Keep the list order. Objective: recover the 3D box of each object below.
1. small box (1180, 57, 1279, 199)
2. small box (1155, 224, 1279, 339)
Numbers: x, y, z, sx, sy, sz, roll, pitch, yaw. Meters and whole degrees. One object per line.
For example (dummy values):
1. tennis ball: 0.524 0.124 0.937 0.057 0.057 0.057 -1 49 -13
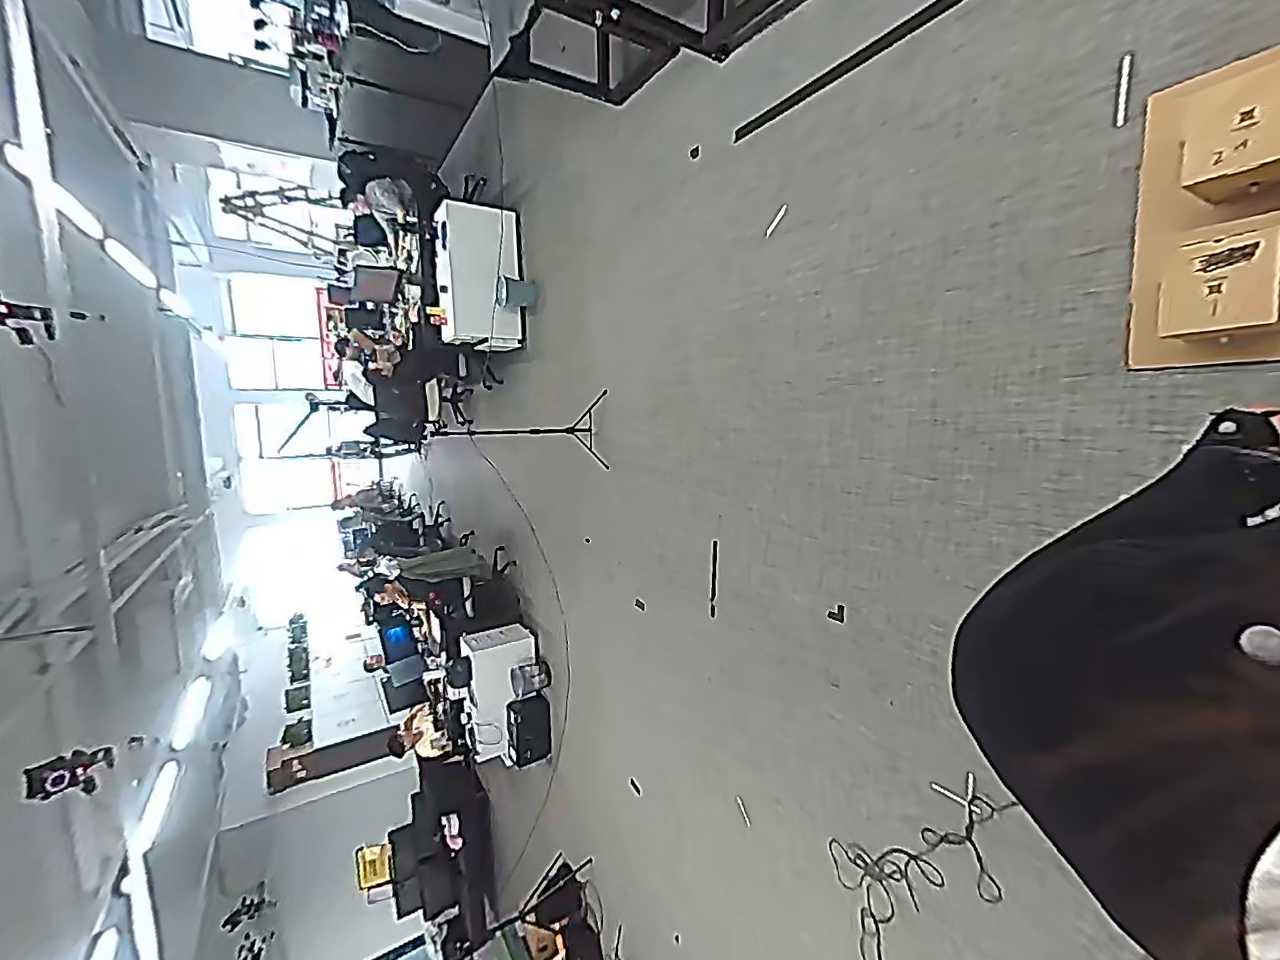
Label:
1. small box: 1.174 -0.665 1.029 0.168 0.176 0.179 9 102 58
2. small box: 1.170 -0.384 1.078 0.168 0.176 0.179 8 102 58
